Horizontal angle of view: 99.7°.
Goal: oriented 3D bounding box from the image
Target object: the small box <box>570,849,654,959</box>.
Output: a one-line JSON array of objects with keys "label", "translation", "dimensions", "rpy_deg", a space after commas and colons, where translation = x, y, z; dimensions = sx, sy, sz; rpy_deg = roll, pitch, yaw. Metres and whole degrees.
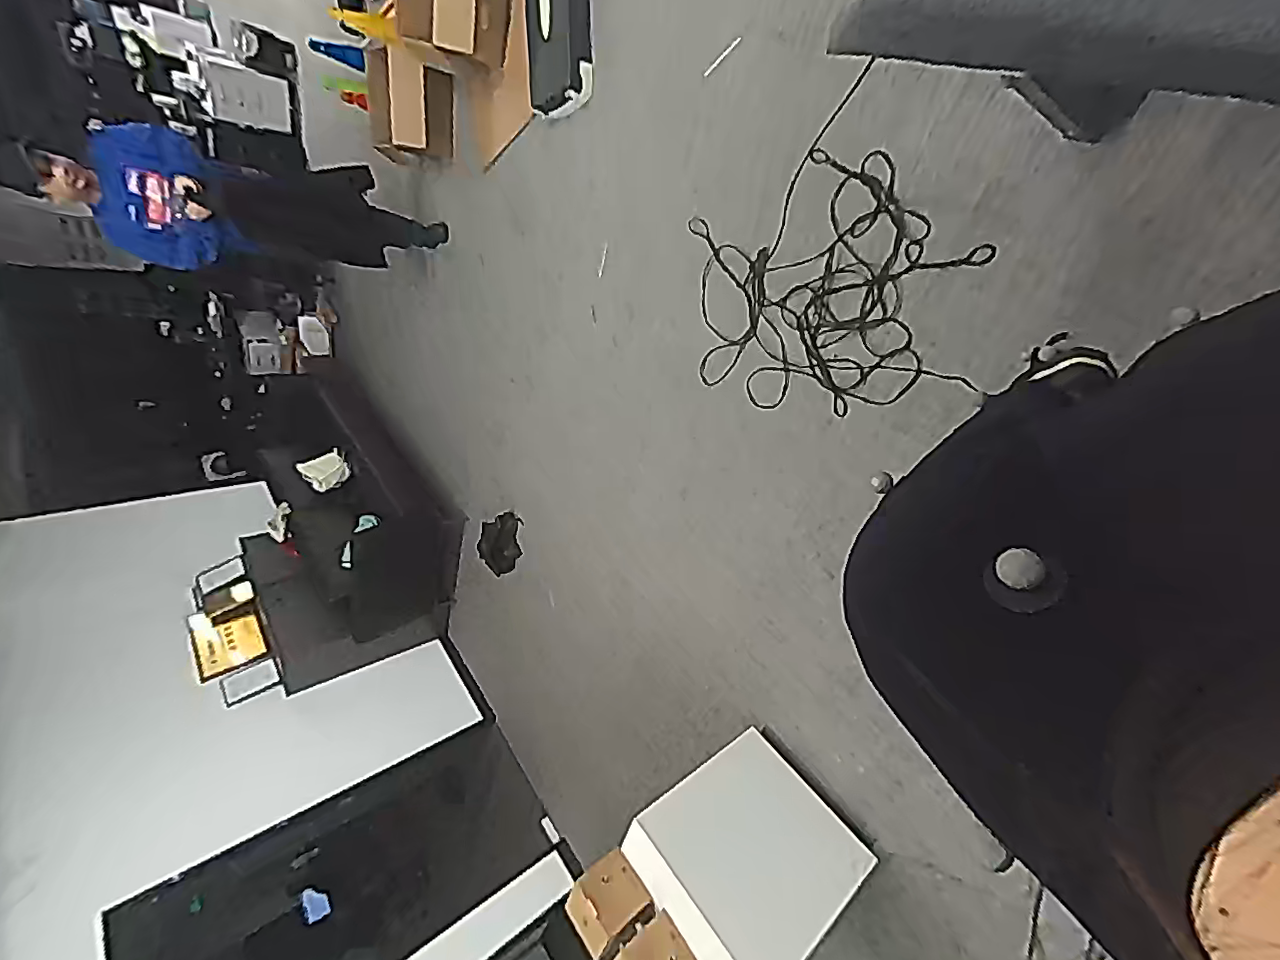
[{"label": "small box", "translation": [-0.080, 1.234, 1.582], "dimensions": [0.168, 0.176, 0.179], "rpy_deg": [41, 129, 36]}]
